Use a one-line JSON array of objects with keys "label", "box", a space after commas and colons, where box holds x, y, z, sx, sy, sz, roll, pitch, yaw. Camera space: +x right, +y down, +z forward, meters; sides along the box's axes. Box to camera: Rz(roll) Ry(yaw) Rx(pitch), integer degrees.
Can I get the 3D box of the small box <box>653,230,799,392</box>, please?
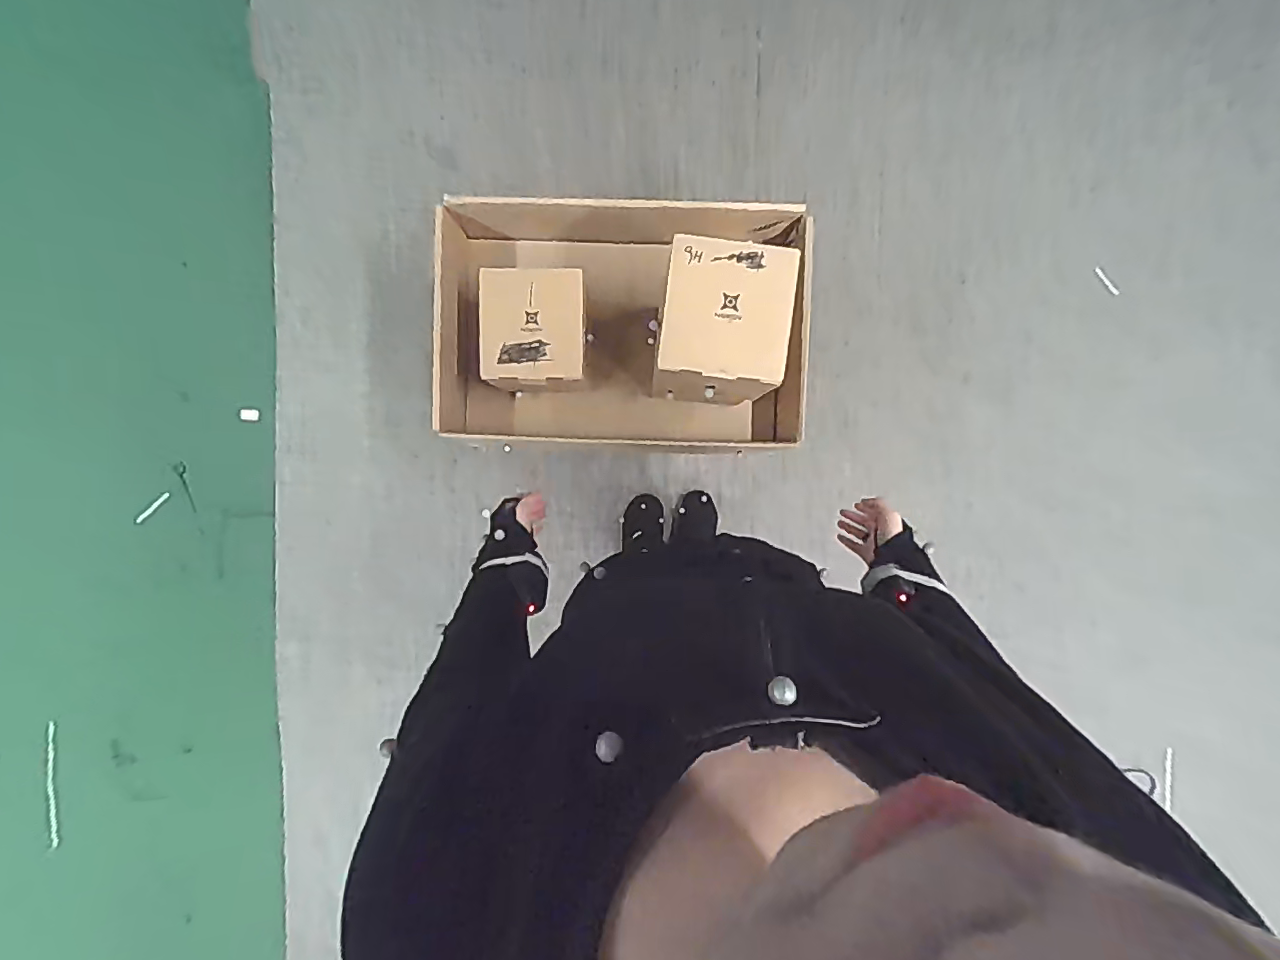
[{"label": "small box", "box": [0.112, -0.227, 0.771, 0.168, 0.176, 0.179, 8, 93, 0]}]
